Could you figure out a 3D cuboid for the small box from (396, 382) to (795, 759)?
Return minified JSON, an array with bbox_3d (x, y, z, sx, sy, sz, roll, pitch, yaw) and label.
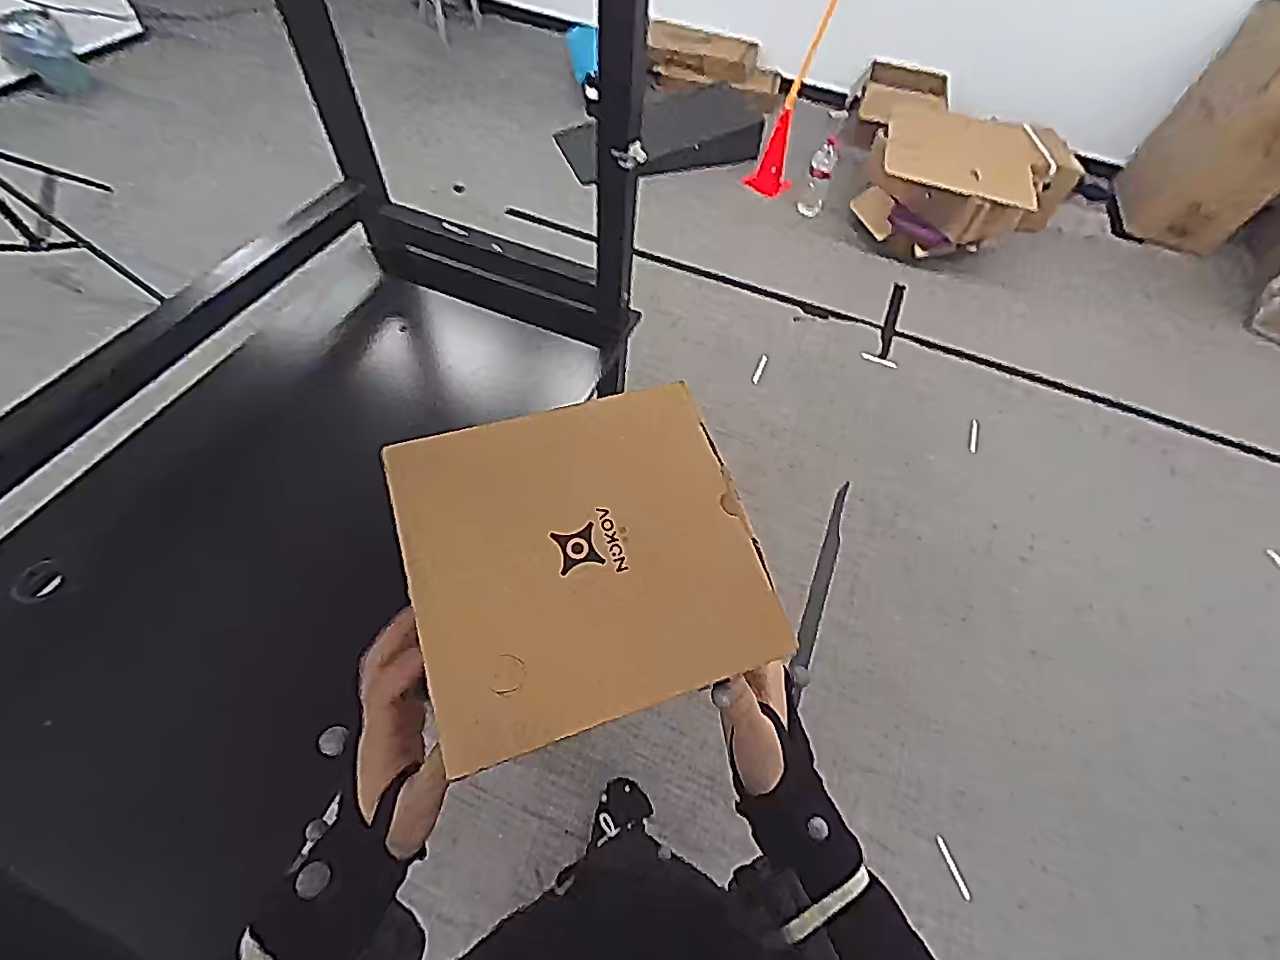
[{"bbox_3d":[-0.035,0.065,0.357,0.179,0.176,0.168,-16,69,-15],"label":"small box"}]
